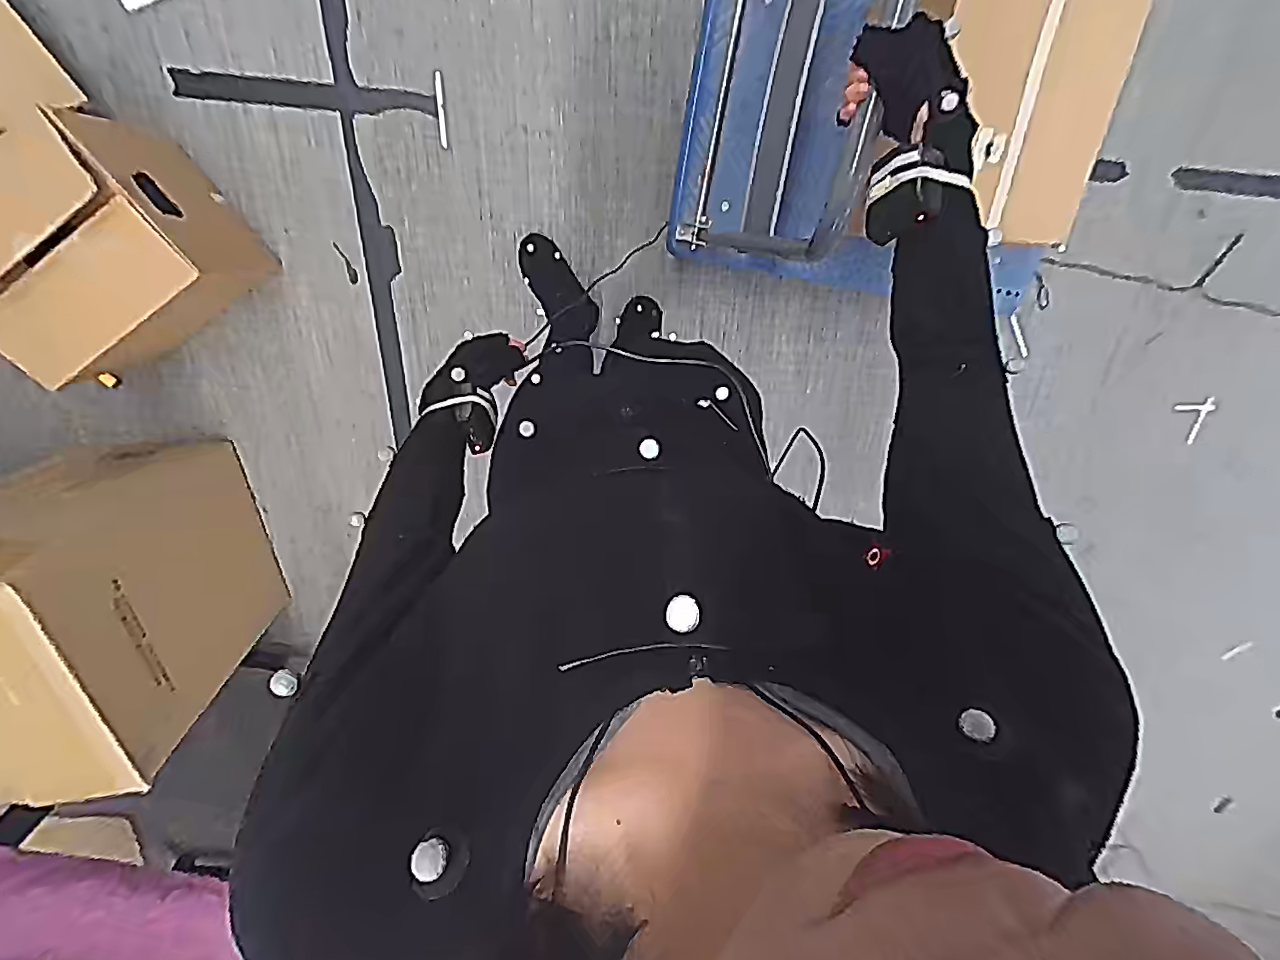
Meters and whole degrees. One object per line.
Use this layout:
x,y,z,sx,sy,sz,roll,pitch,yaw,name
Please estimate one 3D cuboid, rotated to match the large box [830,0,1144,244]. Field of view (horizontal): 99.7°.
0.589,-0.664,0.991,0.320,0.320,0.408,0,116,-7,large box
